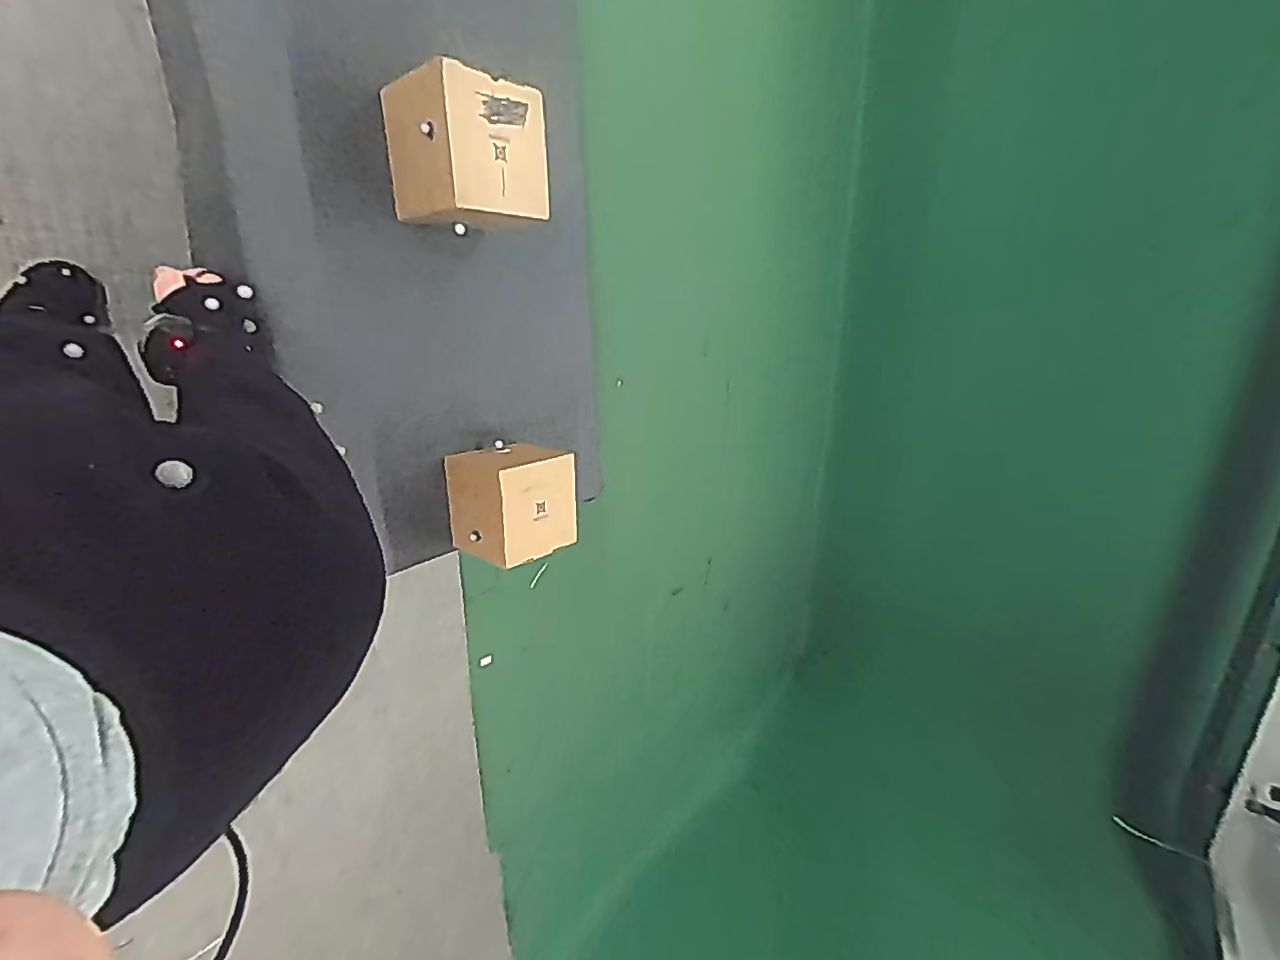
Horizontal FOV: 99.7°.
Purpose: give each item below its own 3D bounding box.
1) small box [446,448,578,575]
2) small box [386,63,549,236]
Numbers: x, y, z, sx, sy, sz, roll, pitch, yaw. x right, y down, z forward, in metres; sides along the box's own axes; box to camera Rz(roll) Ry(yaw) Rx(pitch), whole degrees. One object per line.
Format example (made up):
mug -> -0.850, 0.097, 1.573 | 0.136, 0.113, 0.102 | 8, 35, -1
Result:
small box -> -0.232, 0.048, 0.987 | 0.168, 0.176, 0.179 | -19, 114, -47
small box -> -0.256, -0.472, 0.806 | 0.168, 0.176, 0.179 | -20, 116, -46
